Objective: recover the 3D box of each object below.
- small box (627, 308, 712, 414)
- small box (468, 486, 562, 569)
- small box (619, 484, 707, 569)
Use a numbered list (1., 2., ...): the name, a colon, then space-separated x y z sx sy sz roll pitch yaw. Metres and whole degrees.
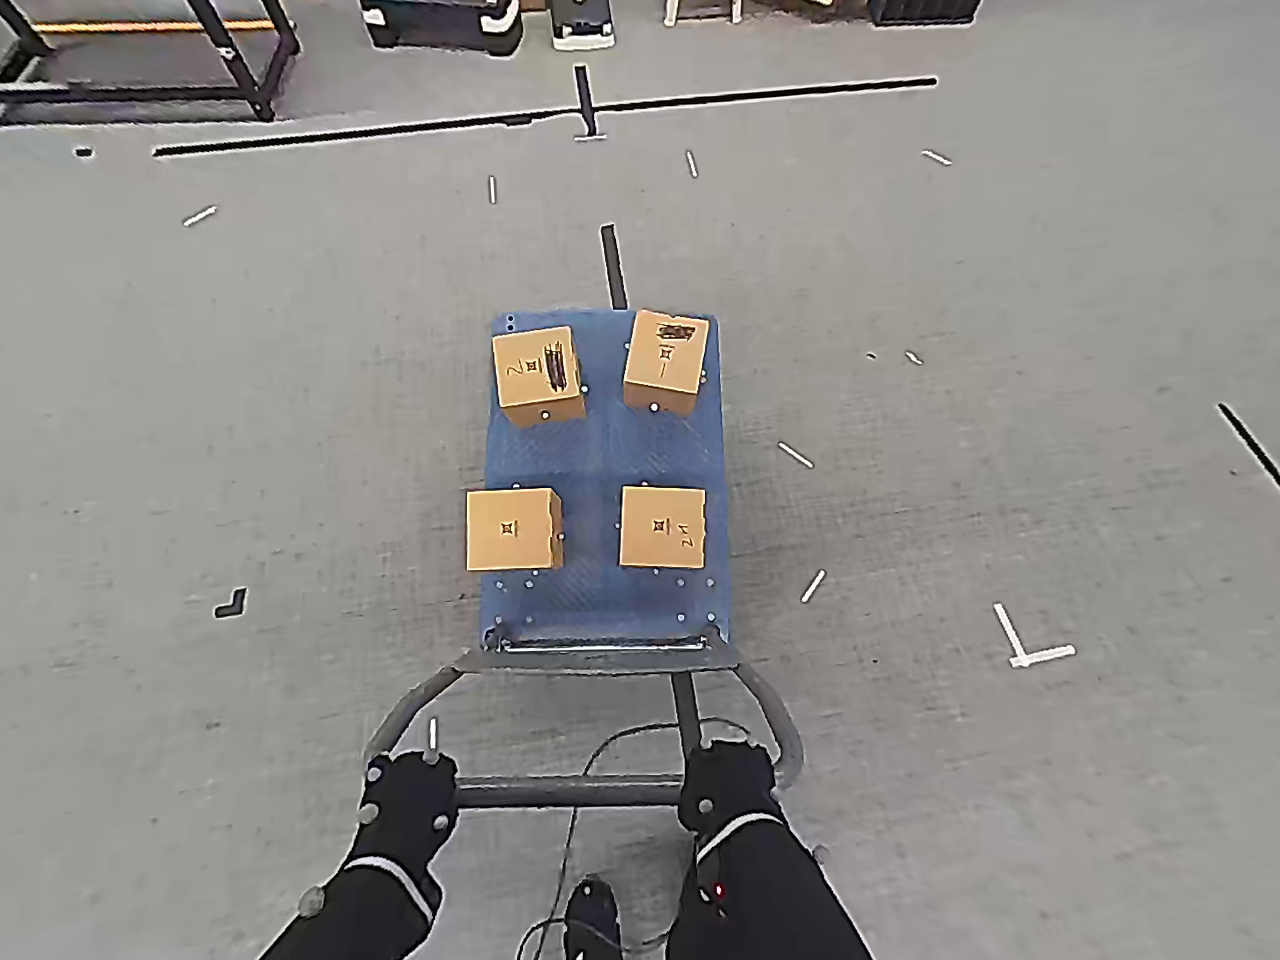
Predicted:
1. small box: 0.063 -0.271 1.264 0.168 0.176 0.179 11 81 1
2. small box: -0.269 0.109 1.191 0.179 0.176 0.168 -2 80 -3
3. small box: 0.048 0.108 1.196 0.179 0.176 0.168 3 80 0
